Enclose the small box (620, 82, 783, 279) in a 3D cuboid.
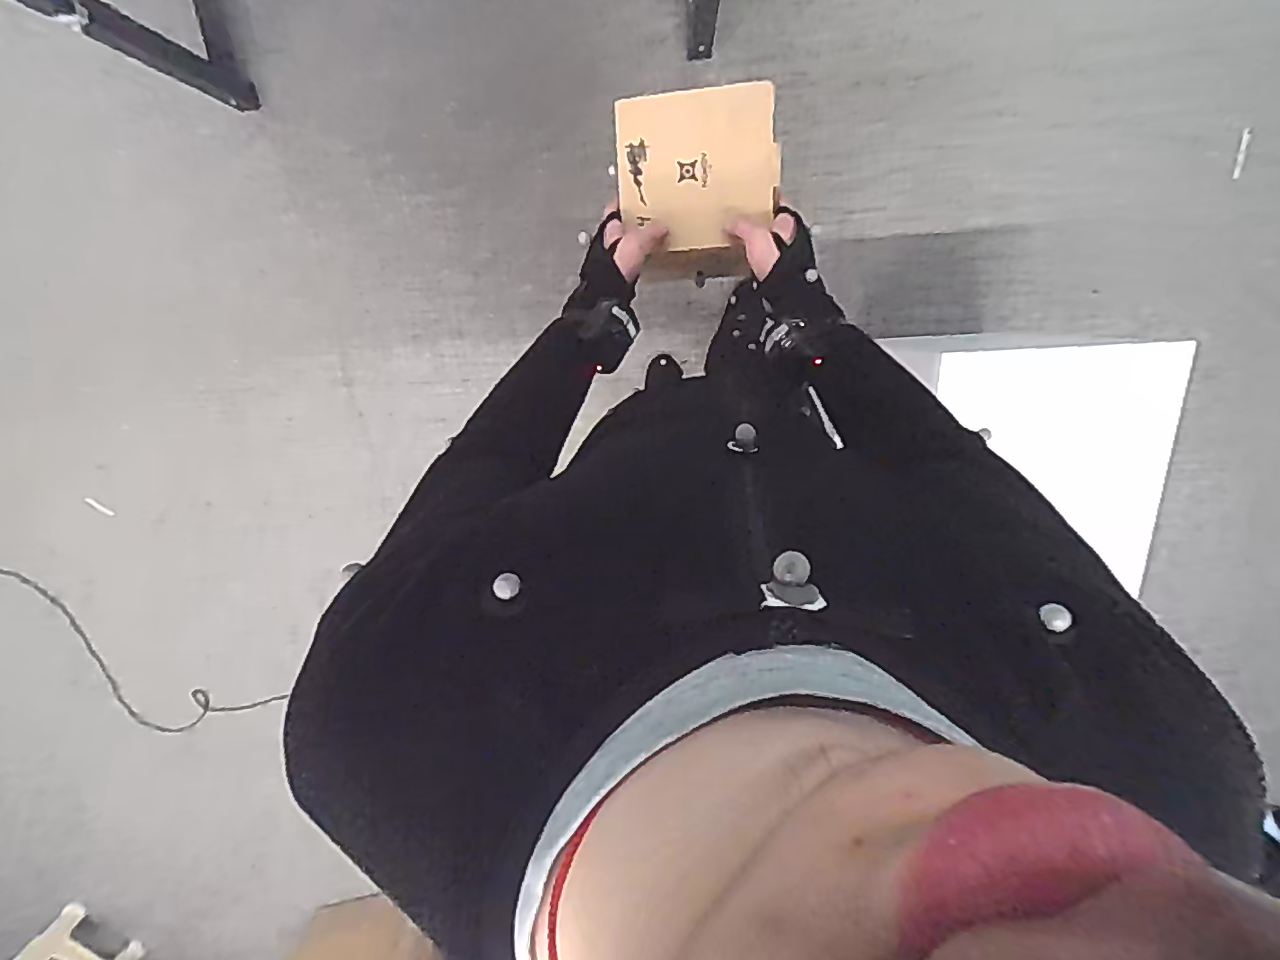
[{"bbox_3d":[0.073,-0.351,0.667,0.179,0.176,0.168,-2,100,6],"label":"small box"}]
